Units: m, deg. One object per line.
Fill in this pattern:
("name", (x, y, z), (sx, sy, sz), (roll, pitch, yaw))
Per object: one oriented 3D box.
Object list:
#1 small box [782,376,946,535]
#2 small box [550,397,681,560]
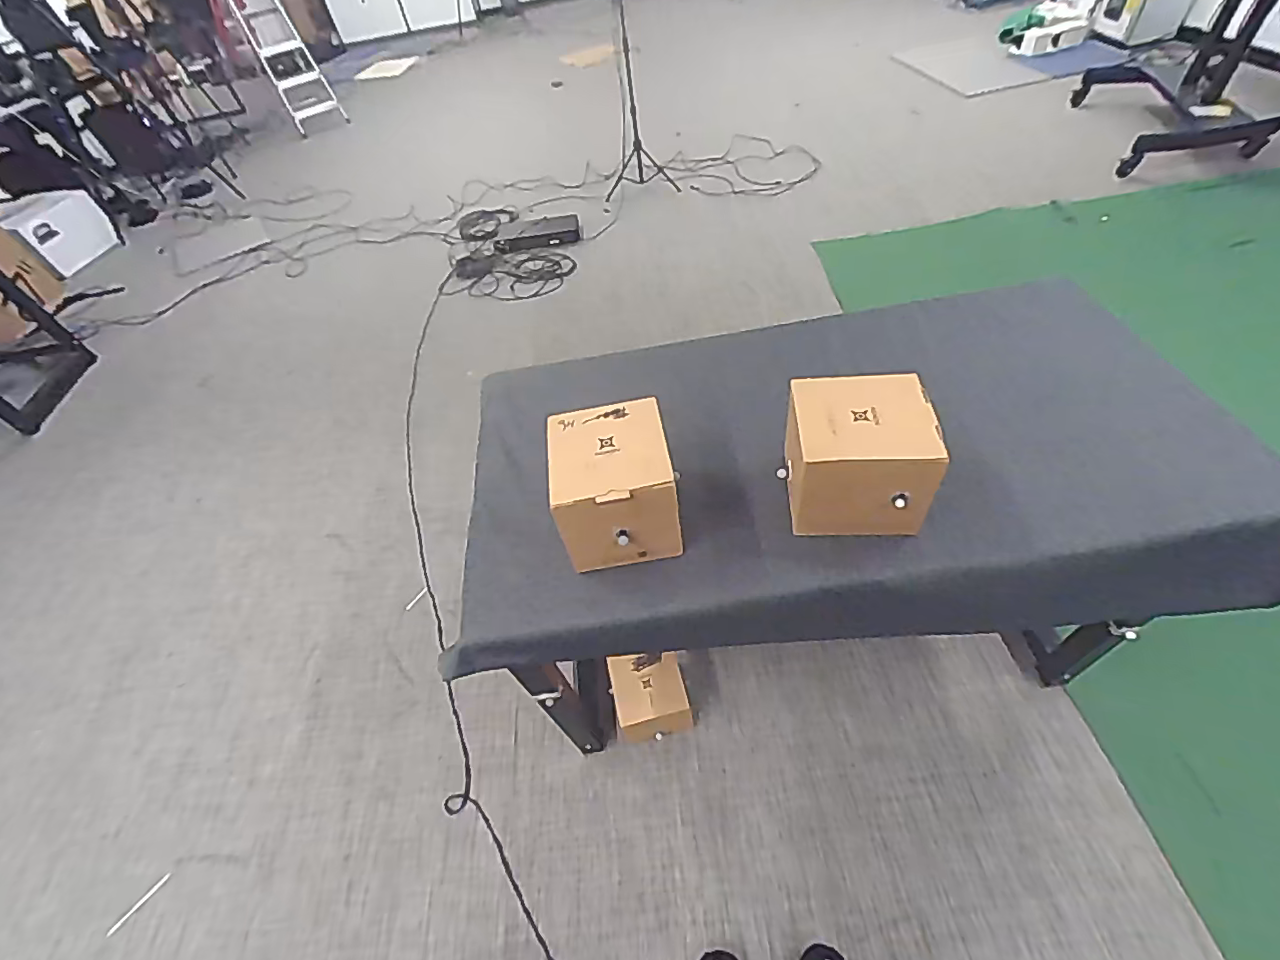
("small box", (0.310, -0.032, 0.791), (0.179, 0.176, 0.168), (-2, 49, 9))
("small box", (-0.035, 0.005, 0.809), (0.168, 0.176, 0.179), (-10, 49, 0))
